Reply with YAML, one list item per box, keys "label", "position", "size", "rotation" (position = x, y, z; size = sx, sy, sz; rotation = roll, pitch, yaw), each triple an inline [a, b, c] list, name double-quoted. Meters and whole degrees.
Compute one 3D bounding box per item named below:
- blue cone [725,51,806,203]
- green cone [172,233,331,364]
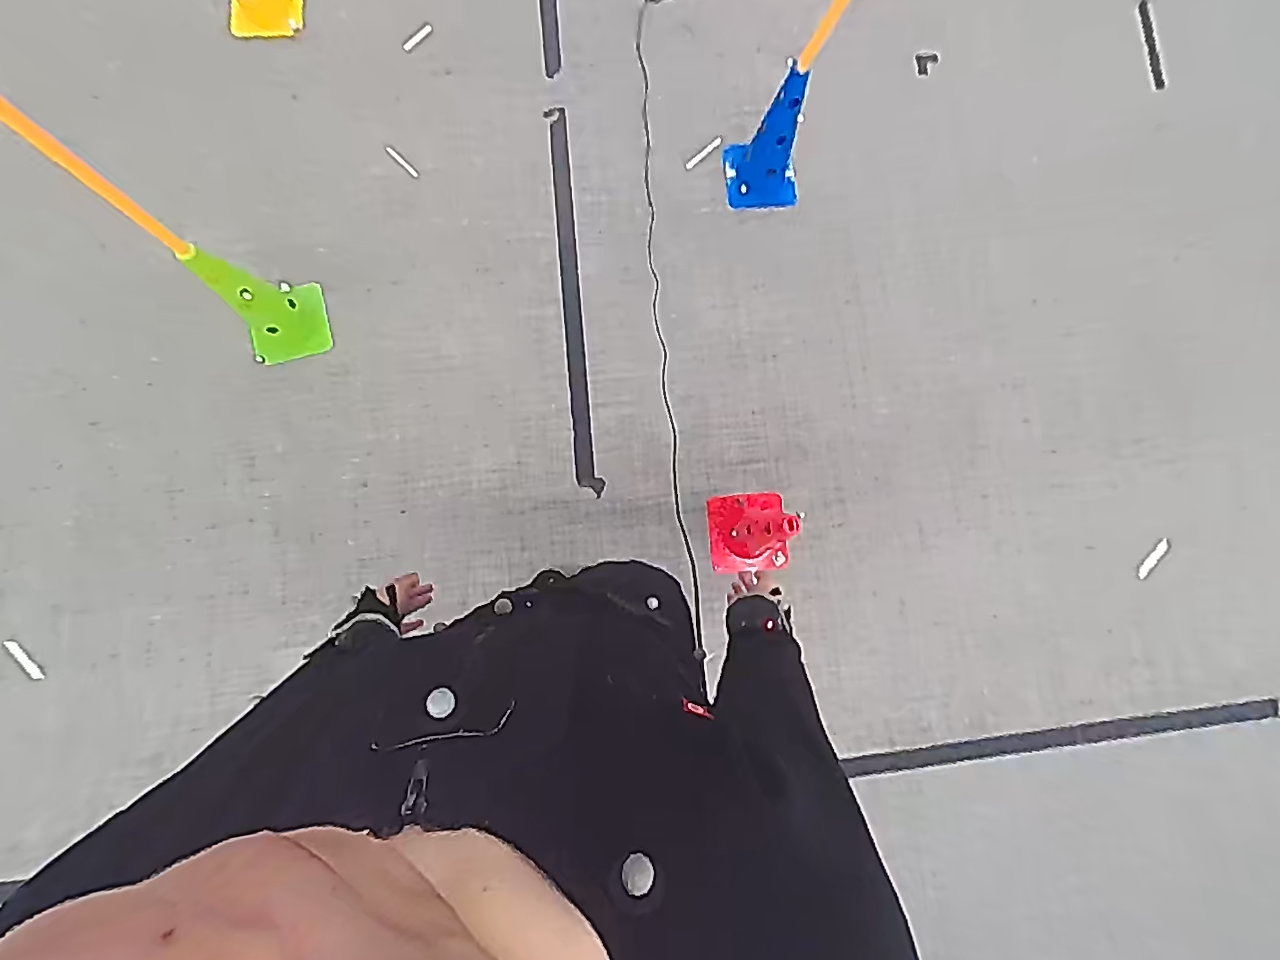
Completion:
- label: "blue cone"
  position: [0.352, -0.909, 1.394]
  size: [0.193, 0.380, 0.192]
  rotation: [-3, 81, -3]
- label: "green cone"
  position: [-0.927, -0.448, 1.268]
  size: [0.200, 0.368, 0.202]
  rotation: [-16, 81, -5]
